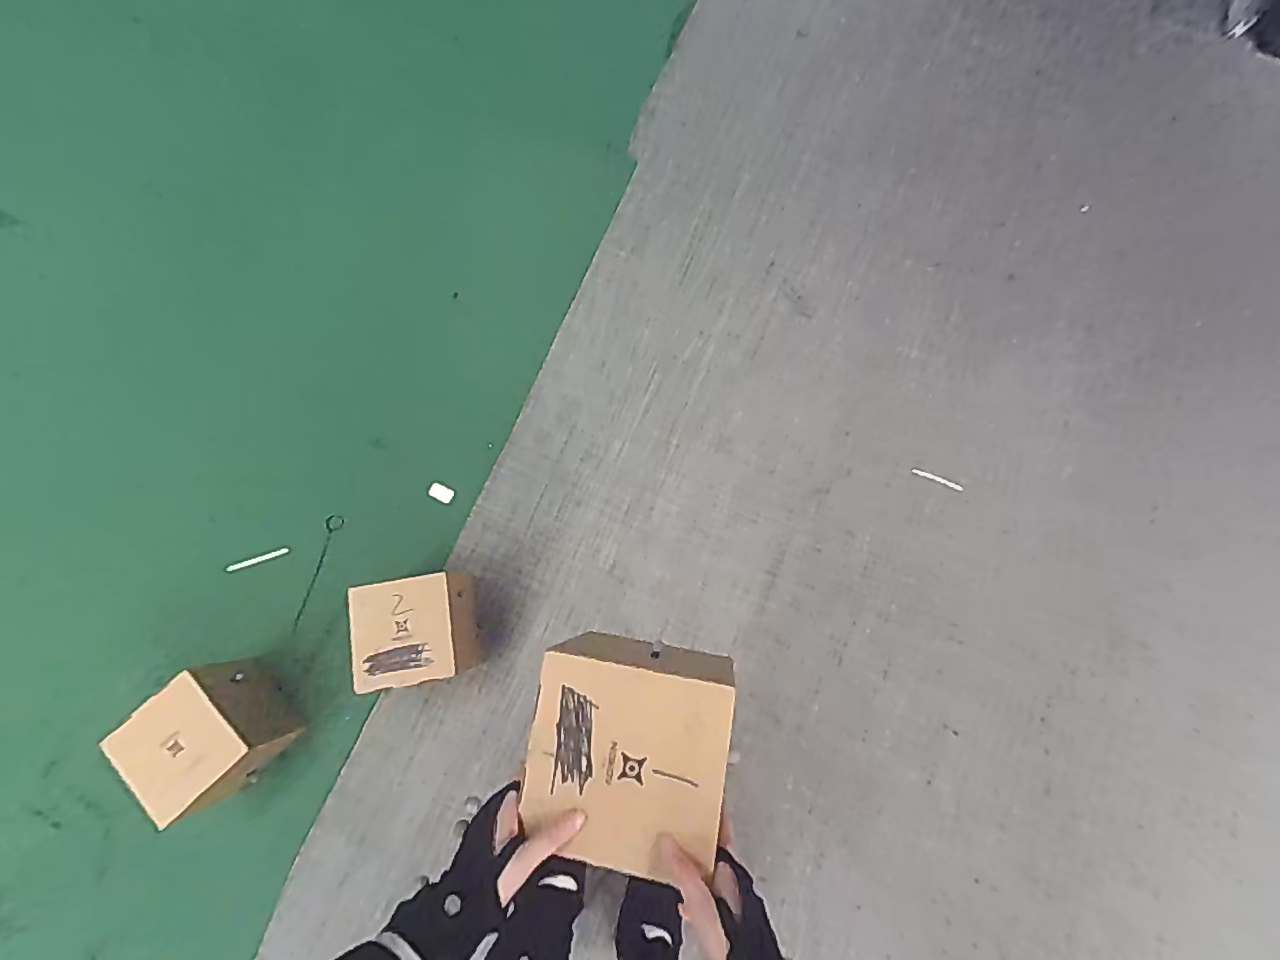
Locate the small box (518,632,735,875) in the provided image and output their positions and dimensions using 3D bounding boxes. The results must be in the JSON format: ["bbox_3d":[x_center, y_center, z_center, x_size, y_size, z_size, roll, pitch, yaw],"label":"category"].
[{"bbox_3d":[-0.001,0.257,0.558,0.179,0.176,0.168,8,81,10],"label":"small box"}]

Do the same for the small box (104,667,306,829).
[{"bbox_3d":[-0.734,0.444,0.933,0.168,0.176,0.179,-43,82,-10],"label":"small box"}]
